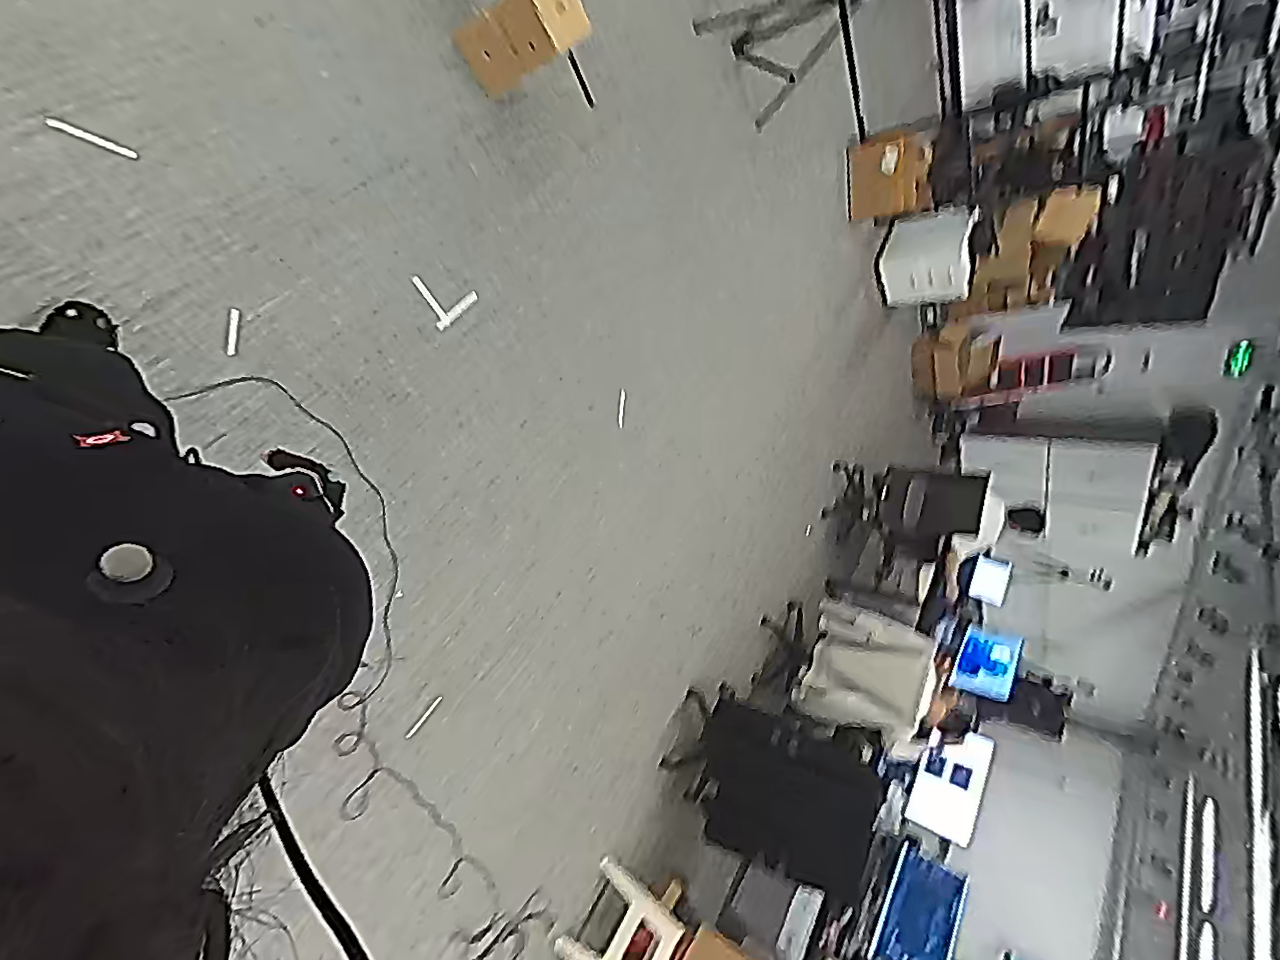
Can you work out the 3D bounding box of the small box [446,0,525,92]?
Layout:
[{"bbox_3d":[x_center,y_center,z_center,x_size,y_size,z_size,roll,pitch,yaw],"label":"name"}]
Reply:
[{"bbox_3d":[-0.421,-1.270,1.572,0.179,0.176,0.168,52,58,-40],"label":"small box"}]

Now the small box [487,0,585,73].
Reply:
[{"bbox_3d":[-0.290,-1.259,1.476,0.179,0.176,0.168,-58,136,-27],"label":"small box"}]
